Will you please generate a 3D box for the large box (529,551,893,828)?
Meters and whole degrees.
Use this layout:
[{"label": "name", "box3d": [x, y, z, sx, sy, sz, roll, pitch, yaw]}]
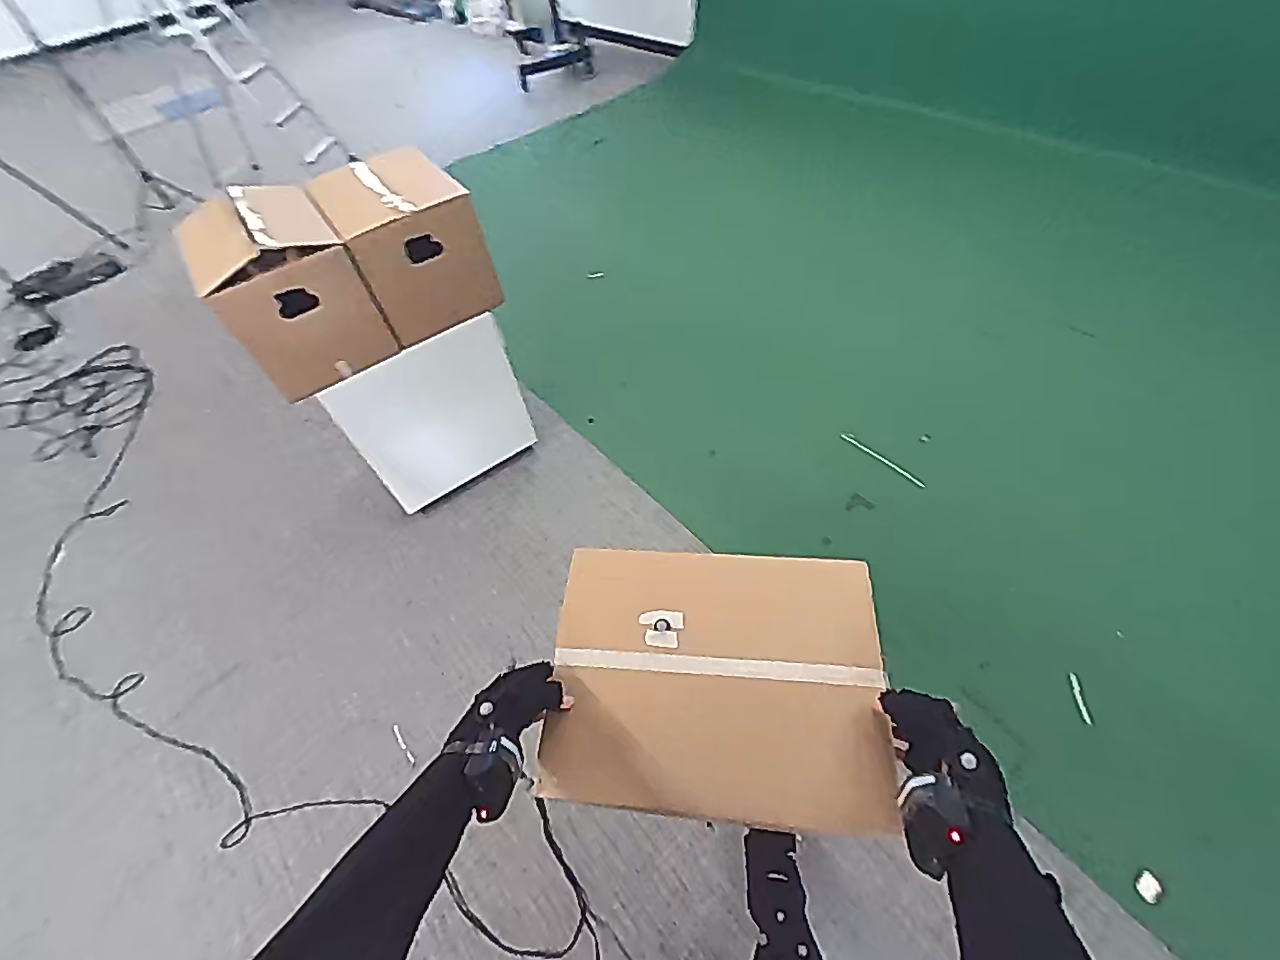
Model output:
[{"label": "large box", "box3d": [0.100, 0.310, 0.791, 0.408, 0.320, 0.320, 1, 56, 9]}]
